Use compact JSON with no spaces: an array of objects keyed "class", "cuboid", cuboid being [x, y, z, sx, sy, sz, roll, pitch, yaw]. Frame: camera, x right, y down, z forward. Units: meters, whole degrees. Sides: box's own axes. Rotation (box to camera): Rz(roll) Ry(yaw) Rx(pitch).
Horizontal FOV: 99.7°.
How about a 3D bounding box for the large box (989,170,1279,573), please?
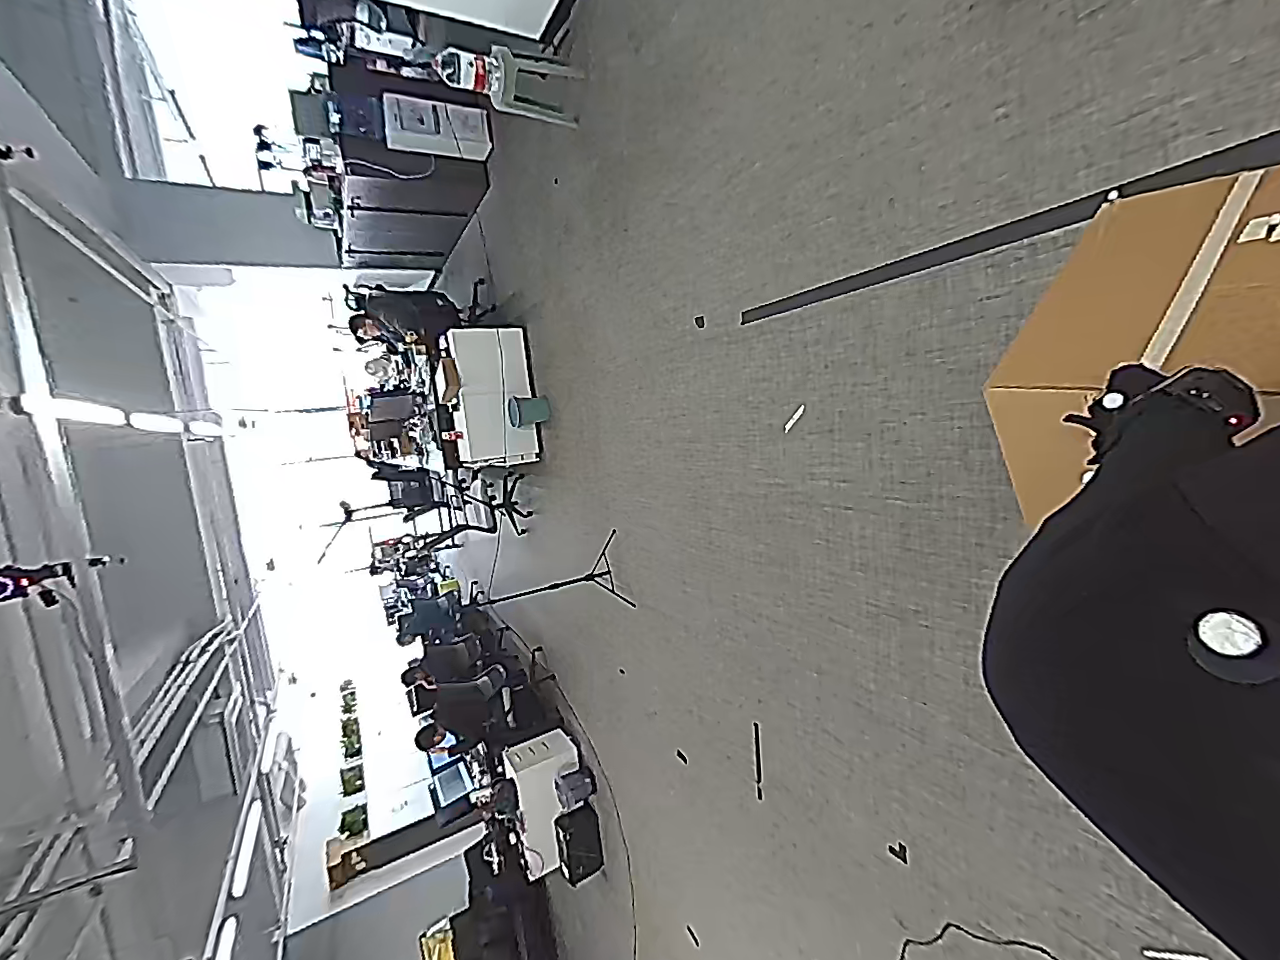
[{"class":"large box","cuboid":[0.751,-0.144,0.720,0.320,0.408,0.320,50,163,-30]}]
